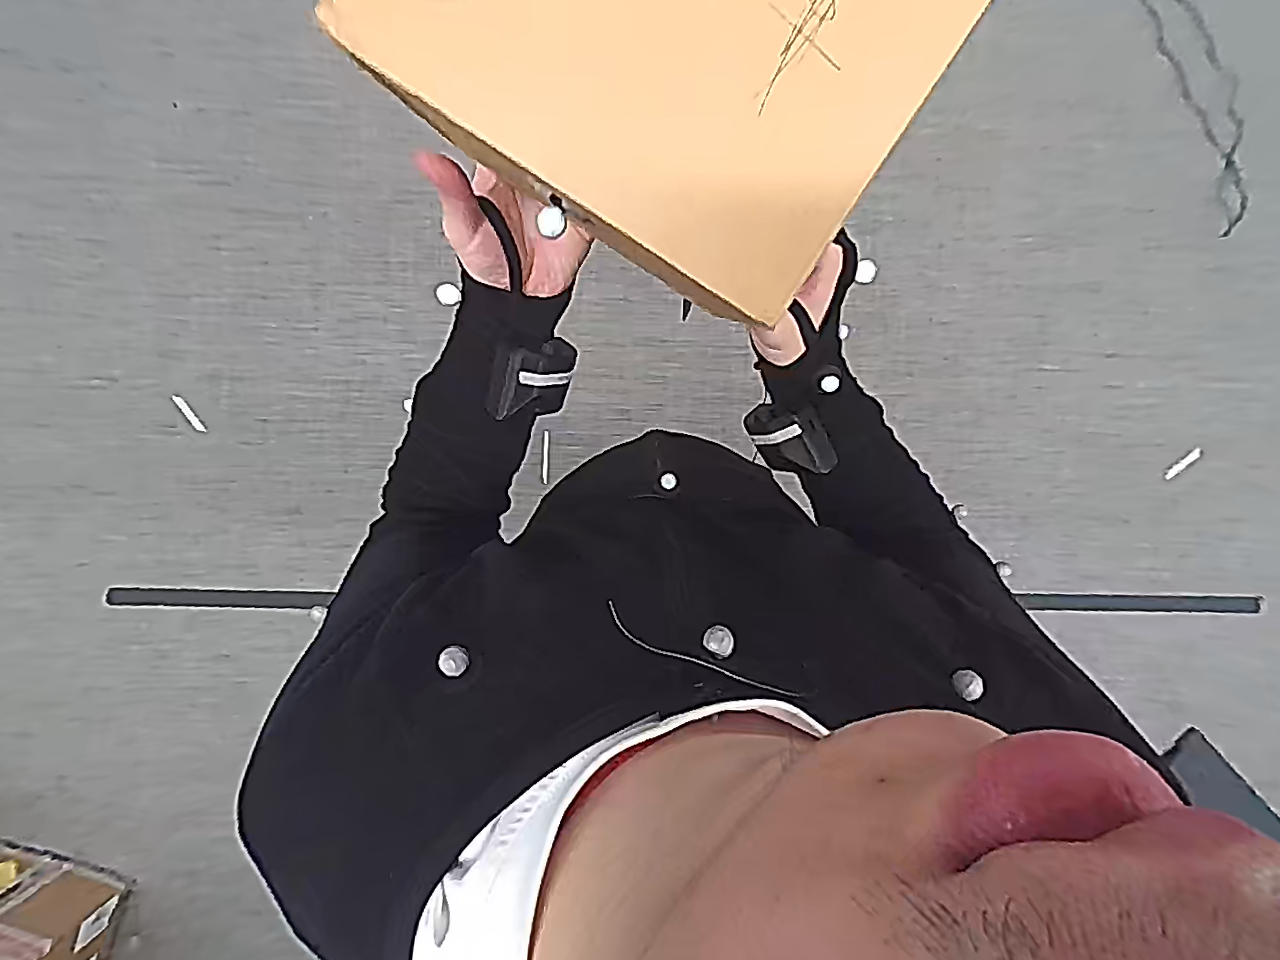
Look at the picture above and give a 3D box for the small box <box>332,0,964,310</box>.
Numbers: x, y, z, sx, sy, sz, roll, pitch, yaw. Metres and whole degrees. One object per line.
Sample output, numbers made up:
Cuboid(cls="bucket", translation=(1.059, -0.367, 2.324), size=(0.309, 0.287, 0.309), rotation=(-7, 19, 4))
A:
Cuboid(cls="small box", translation=(0.014, -0.193, 0.244), size=(0.179, 0.176, 0.168), rotation=(30, 107, -9))
